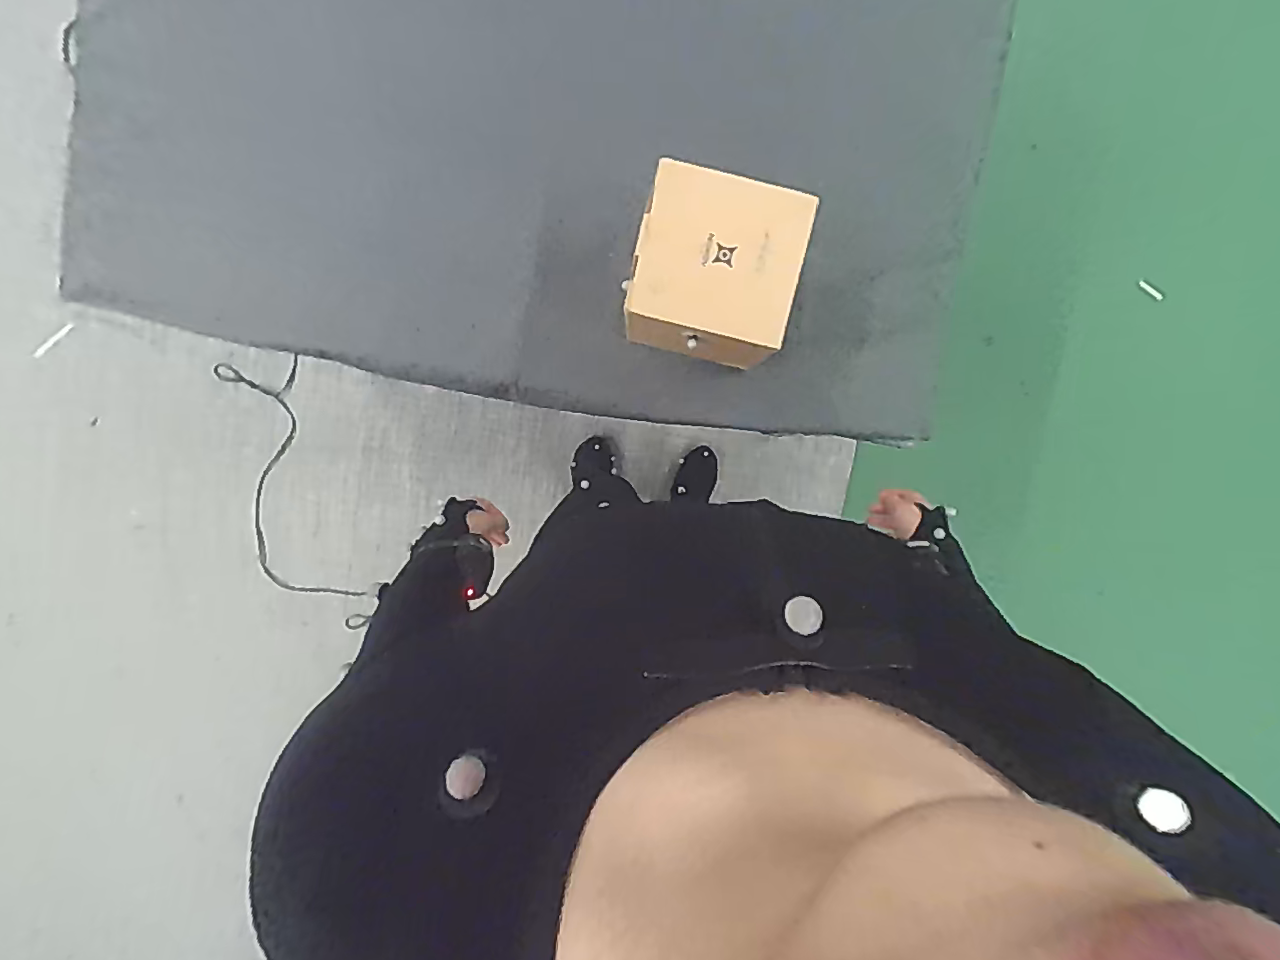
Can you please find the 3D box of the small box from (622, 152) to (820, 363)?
[{"bbox_3d":[0.084,-0.245,0.640,0.179,0.176,0.168,14,95,-1],"label":"small box"}]
